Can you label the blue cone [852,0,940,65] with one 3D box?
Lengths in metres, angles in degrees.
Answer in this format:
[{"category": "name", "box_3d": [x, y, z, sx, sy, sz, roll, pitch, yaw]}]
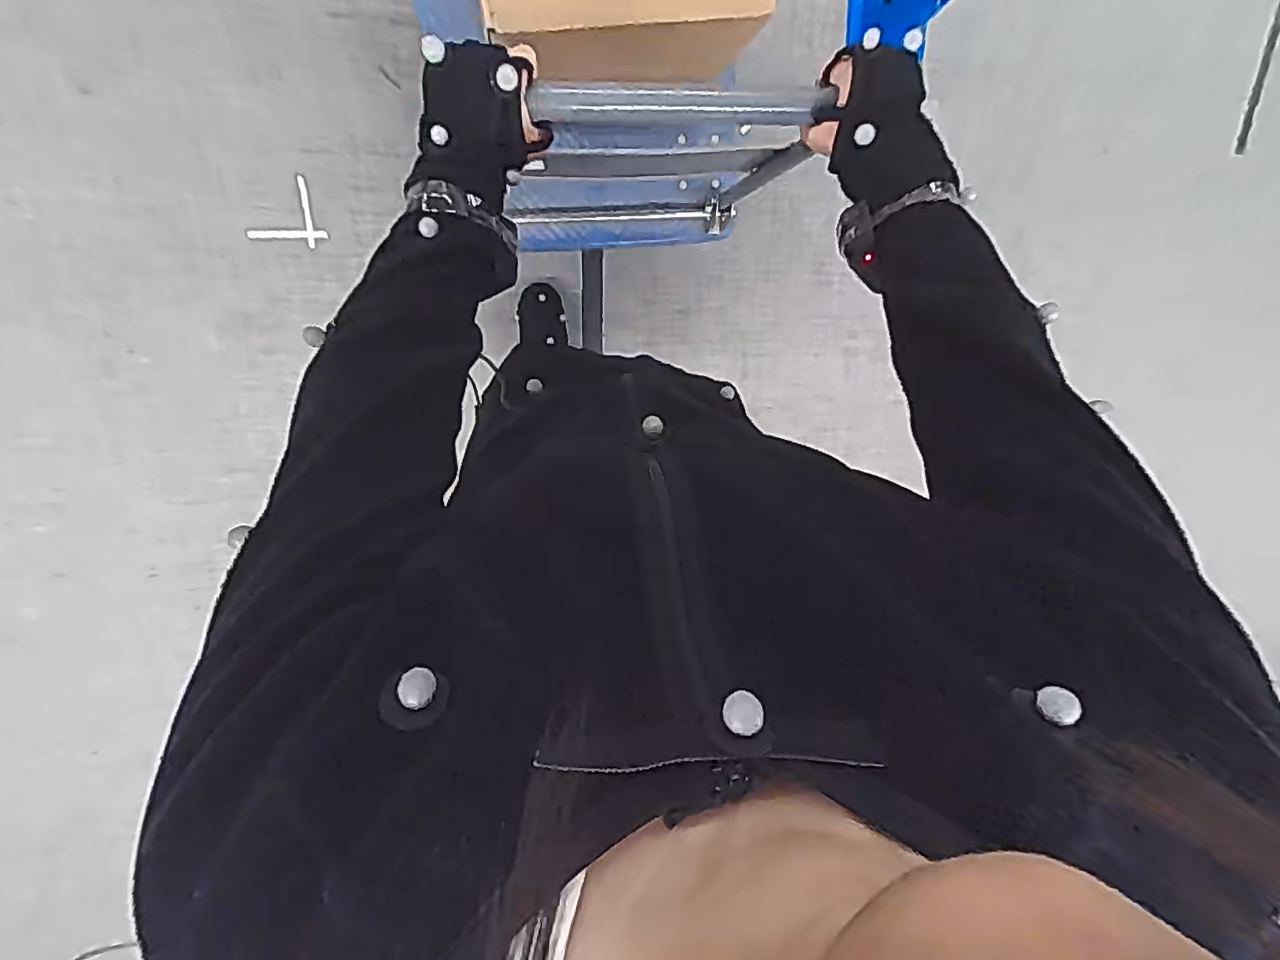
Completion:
[{"category": "blue cone", "box_3d": [0.607, -1.014, 1.086, 0.193, 0.380, 0.192, -7, 109, -10]}]
